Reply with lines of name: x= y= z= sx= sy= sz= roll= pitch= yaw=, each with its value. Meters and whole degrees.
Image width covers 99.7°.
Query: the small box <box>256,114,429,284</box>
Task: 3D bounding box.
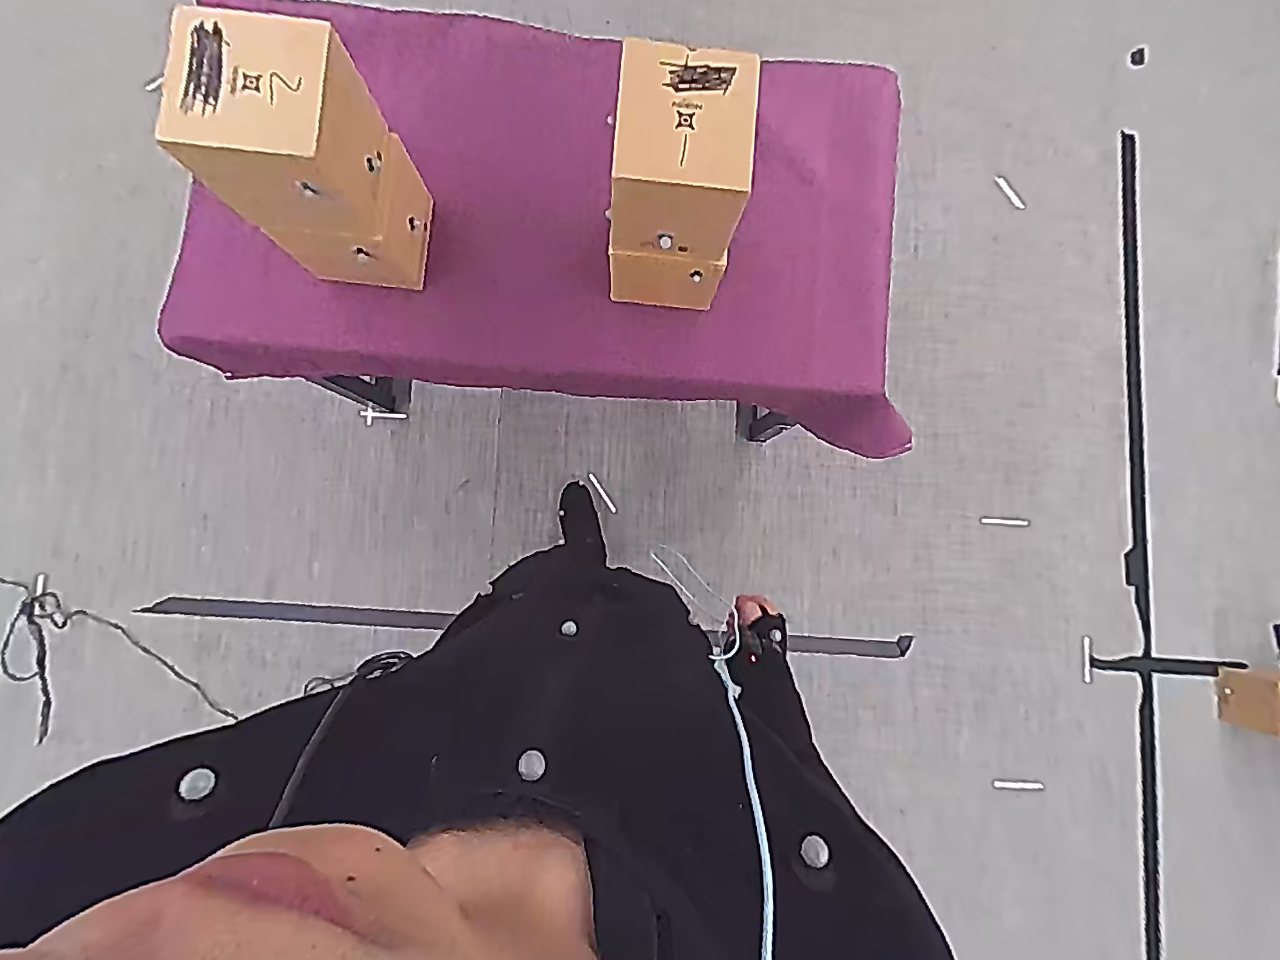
small box: x=-0.447 y=-0.423 z=0.843 sx=0.179 sy=0.176 sz=0.168 roll=6 pitch=85 yaw=-3

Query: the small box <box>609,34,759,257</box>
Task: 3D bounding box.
small box: x=0.048 y=-0.422 z=0.707 sx=0.168 sy=0.176 sz=0.179 roll=5 pitch=86 yaw=-3

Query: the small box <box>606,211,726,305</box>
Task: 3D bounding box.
small box: x=0.040 y=-0.397 z=0.870 sx=0.179 sy=0.176 sz=0.168 roll=5 pitch=85 yaw=-3
